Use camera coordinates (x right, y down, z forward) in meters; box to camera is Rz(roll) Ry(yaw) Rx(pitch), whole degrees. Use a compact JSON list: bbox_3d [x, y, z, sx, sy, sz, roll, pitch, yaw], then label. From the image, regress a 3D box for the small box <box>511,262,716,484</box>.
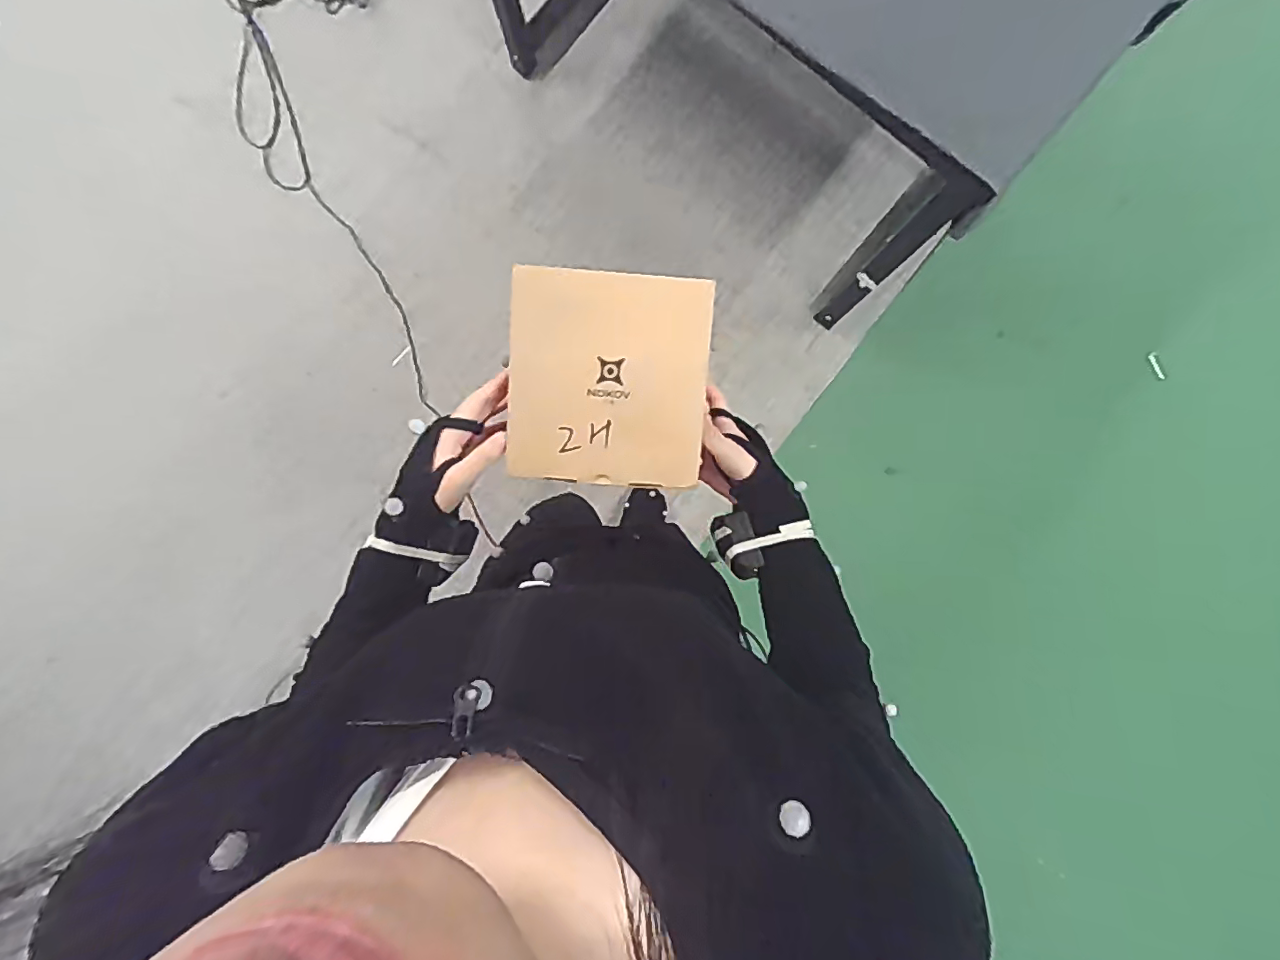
[{"bbox_3d":[-0.026,-0.100,0.534,0.168,0.176,0.179,4,100,-1],"label":"small box"}]
